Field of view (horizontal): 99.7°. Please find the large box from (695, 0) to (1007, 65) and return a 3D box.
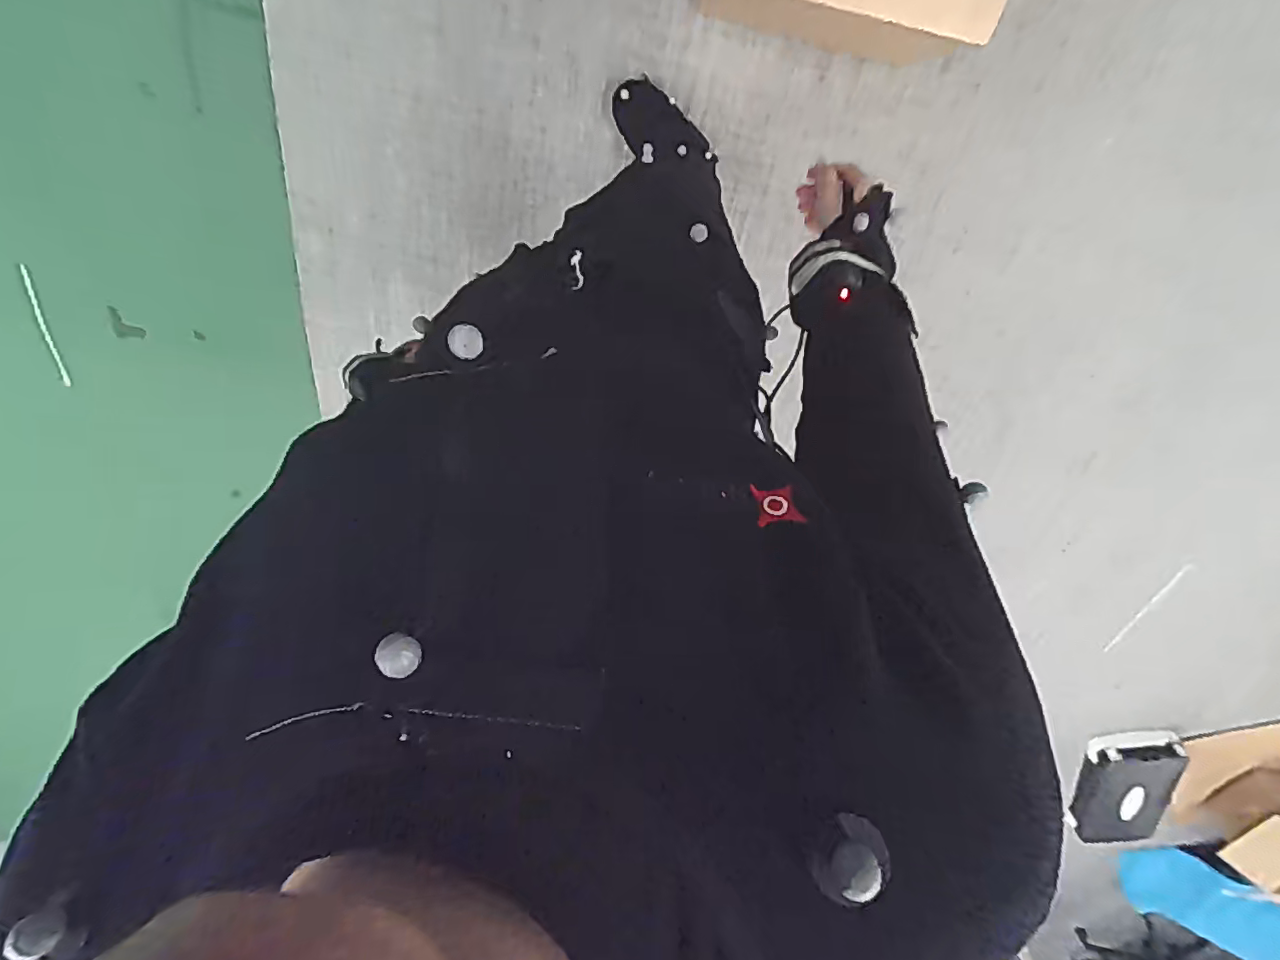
[{"bbox_3d":[0.312,-0.833,0.768,0.408,0.320,0.320,10,124,-5],"label":"large box"}]
